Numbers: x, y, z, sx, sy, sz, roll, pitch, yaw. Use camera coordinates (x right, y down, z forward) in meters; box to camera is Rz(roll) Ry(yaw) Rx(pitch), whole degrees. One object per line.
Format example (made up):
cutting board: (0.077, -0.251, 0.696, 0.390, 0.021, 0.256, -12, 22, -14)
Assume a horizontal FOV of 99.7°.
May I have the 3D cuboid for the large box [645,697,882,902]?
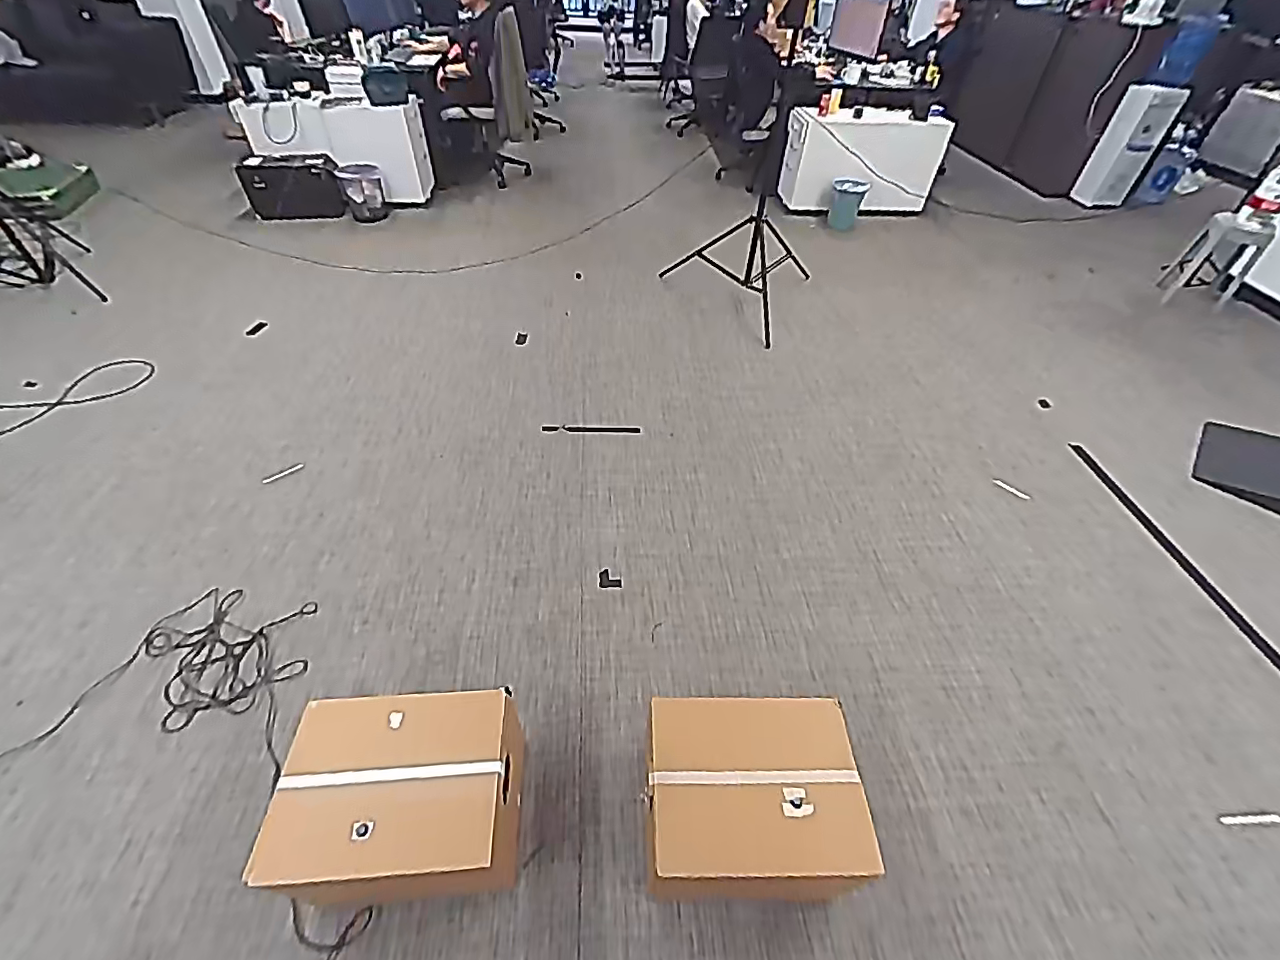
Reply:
large box: (0.223, 0.682, 1.158, 0.408, 0.320, 0.320, 2, 46, -3)
